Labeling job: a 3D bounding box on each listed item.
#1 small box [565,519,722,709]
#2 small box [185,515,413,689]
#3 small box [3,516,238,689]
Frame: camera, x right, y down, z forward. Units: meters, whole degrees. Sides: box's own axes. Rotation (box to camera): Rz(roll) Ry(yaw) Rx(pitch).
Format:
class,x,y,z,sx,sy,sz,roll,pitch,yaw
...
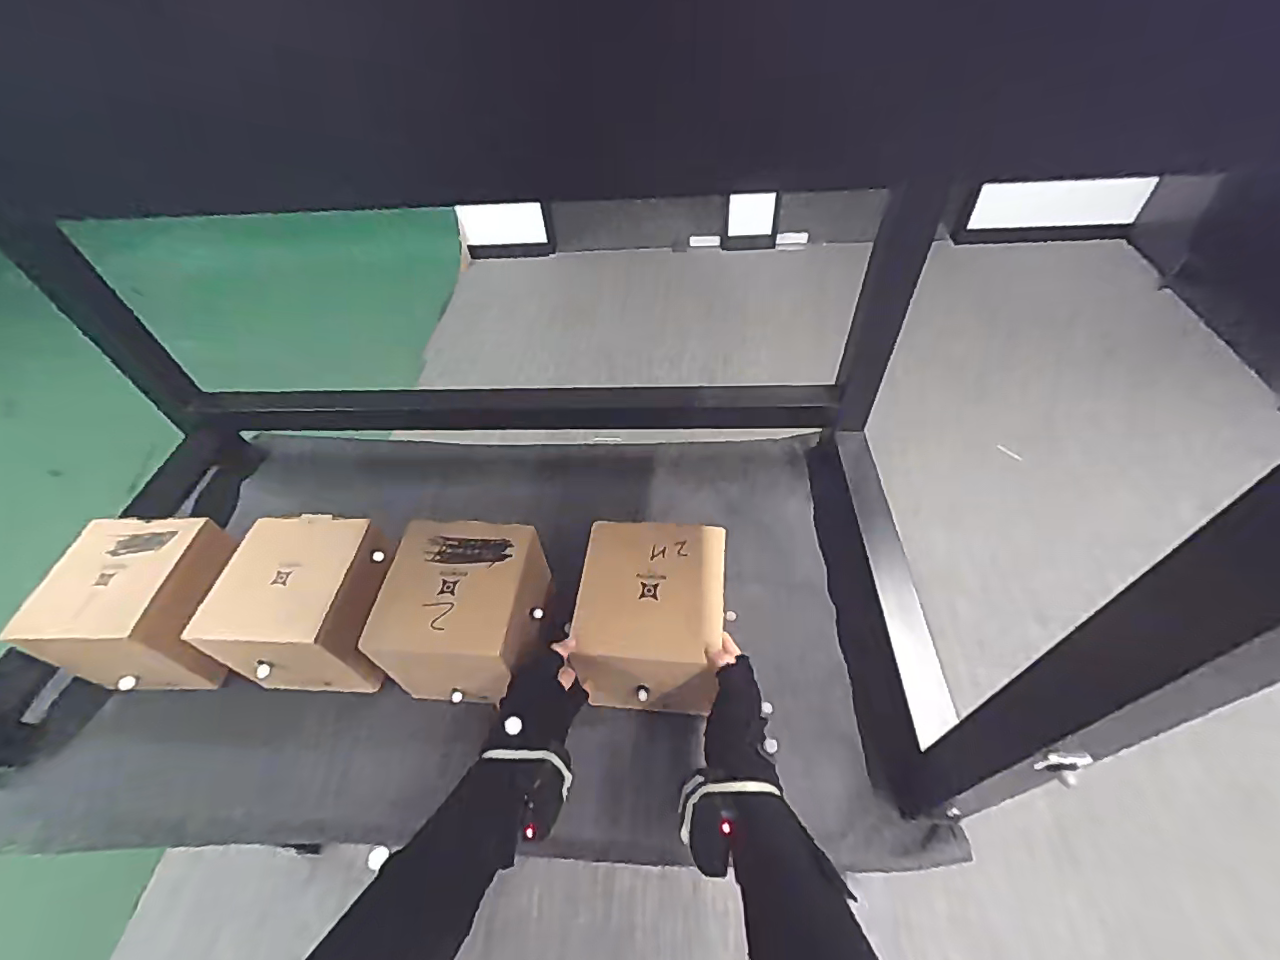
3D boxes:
class,x,y,z,sx,sy,sz,roll,pitch,yaw
small box,0.017,0.170,0.677,0.168,0.176,0.179,2,49,8
small box,-0.433,0.167,0.728,0.168,0.176,0.179,1,49,5
small box,-0.660,0.168,0.742,0.168,0.176,0.179,-1,49,4
